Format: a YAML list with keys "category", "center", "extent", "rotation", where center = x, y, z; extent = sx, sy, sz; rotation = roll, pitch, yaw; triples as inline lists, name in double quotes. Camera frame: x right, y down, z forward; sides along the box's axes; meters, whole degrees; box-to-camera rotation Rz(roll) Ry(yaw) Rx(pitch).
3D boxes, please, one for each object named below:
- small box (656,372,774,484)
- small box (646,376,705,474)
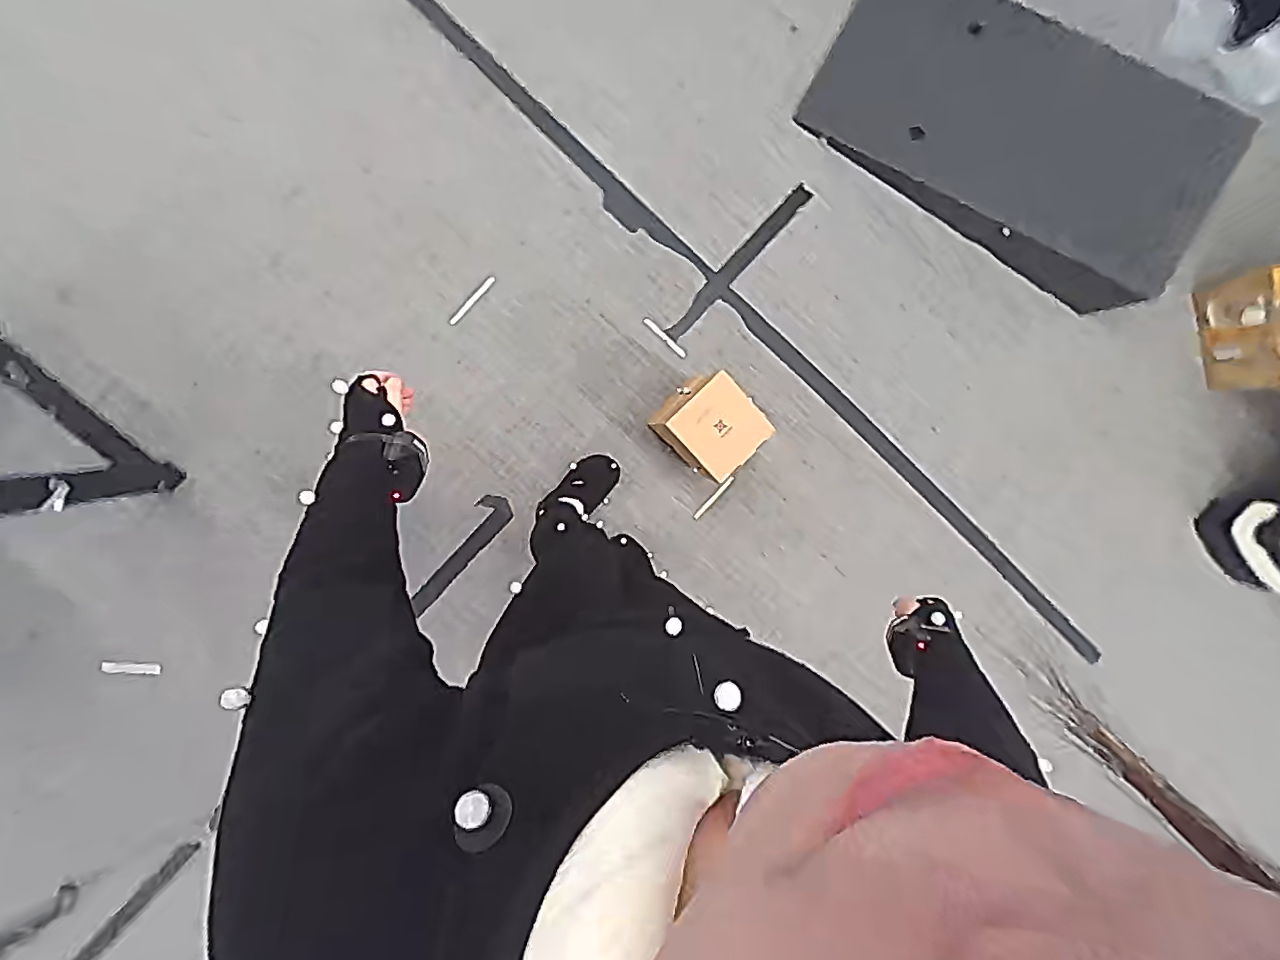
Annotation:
- category: "small box"
  center: [0.156, -0.116, 1.187]
  extent: [0.168, 0.176, 0.179]
  rotation: [-43, 98, 0]
- category: "small box"
  center: [0.137, -0.139, 1.348]
  extent: [0.179, 0.176, 0.168]
  rotation: [44, 90, -10]
